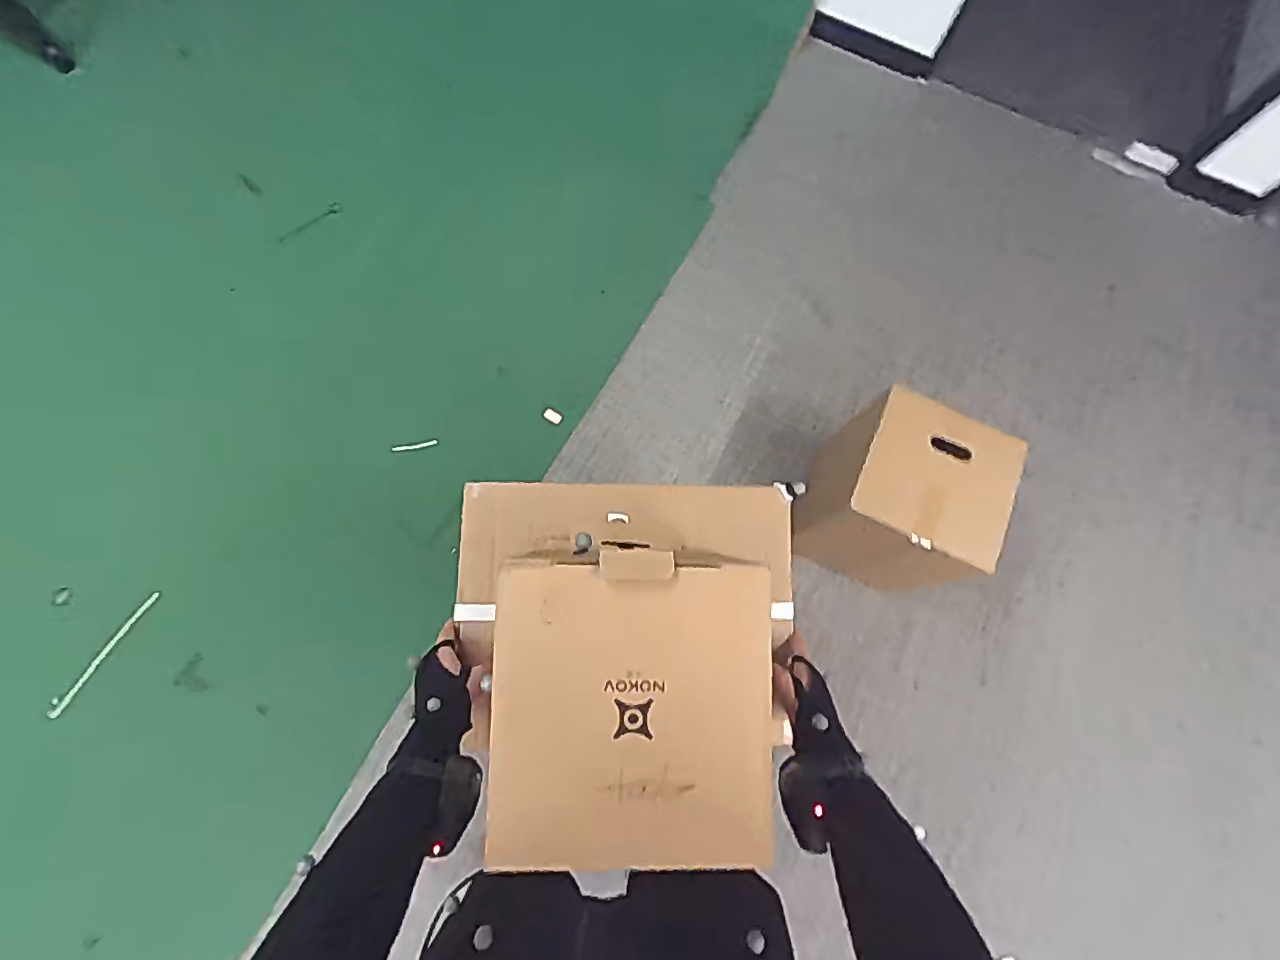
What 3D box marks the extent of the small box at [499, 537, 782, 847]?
[{"bbox_3d":[-0.002,0.133,0.399,0.168,0.176,0.179,1,84,-3],"label":"small box"}]
